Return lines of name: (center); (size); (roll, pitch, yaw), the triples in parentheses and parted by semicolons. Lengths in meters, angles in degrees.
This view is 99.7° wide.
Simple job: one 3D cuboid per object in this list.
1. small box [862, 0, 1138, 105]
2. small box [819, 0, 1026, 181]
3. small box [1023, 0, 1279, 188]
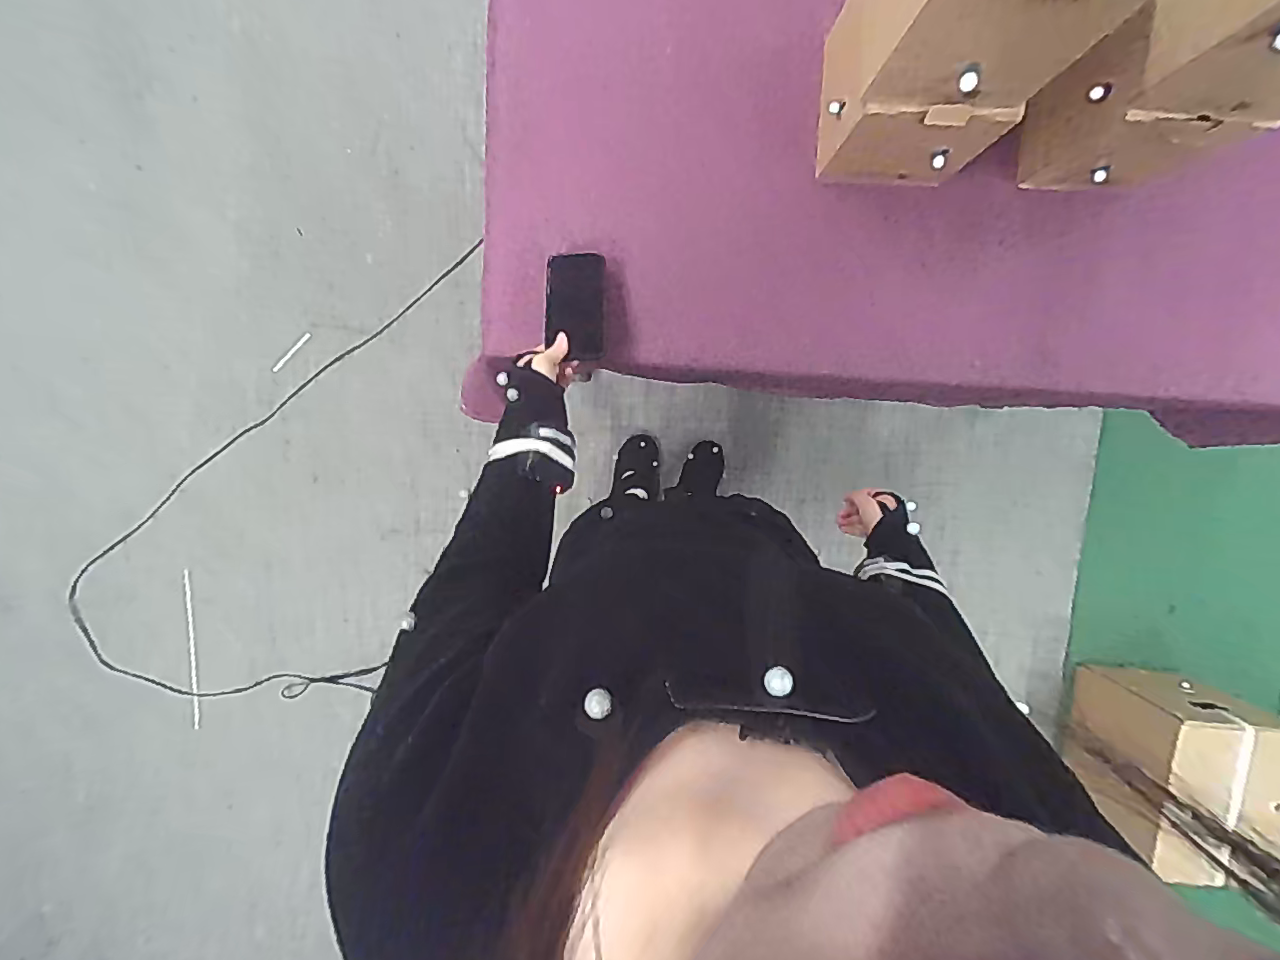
small box: (0.305, -0.462, 0.458); (0.168, 0.176, 0.179); (2, 97, 0)
small box: (0.317, -0.470, 0.624); (0.168, 0.176, 0.179); (3, 96, 0)
small box: (0.582, -0.465, 0.620); (0.168, 0.176, 0.179); (3, 97, 0)
